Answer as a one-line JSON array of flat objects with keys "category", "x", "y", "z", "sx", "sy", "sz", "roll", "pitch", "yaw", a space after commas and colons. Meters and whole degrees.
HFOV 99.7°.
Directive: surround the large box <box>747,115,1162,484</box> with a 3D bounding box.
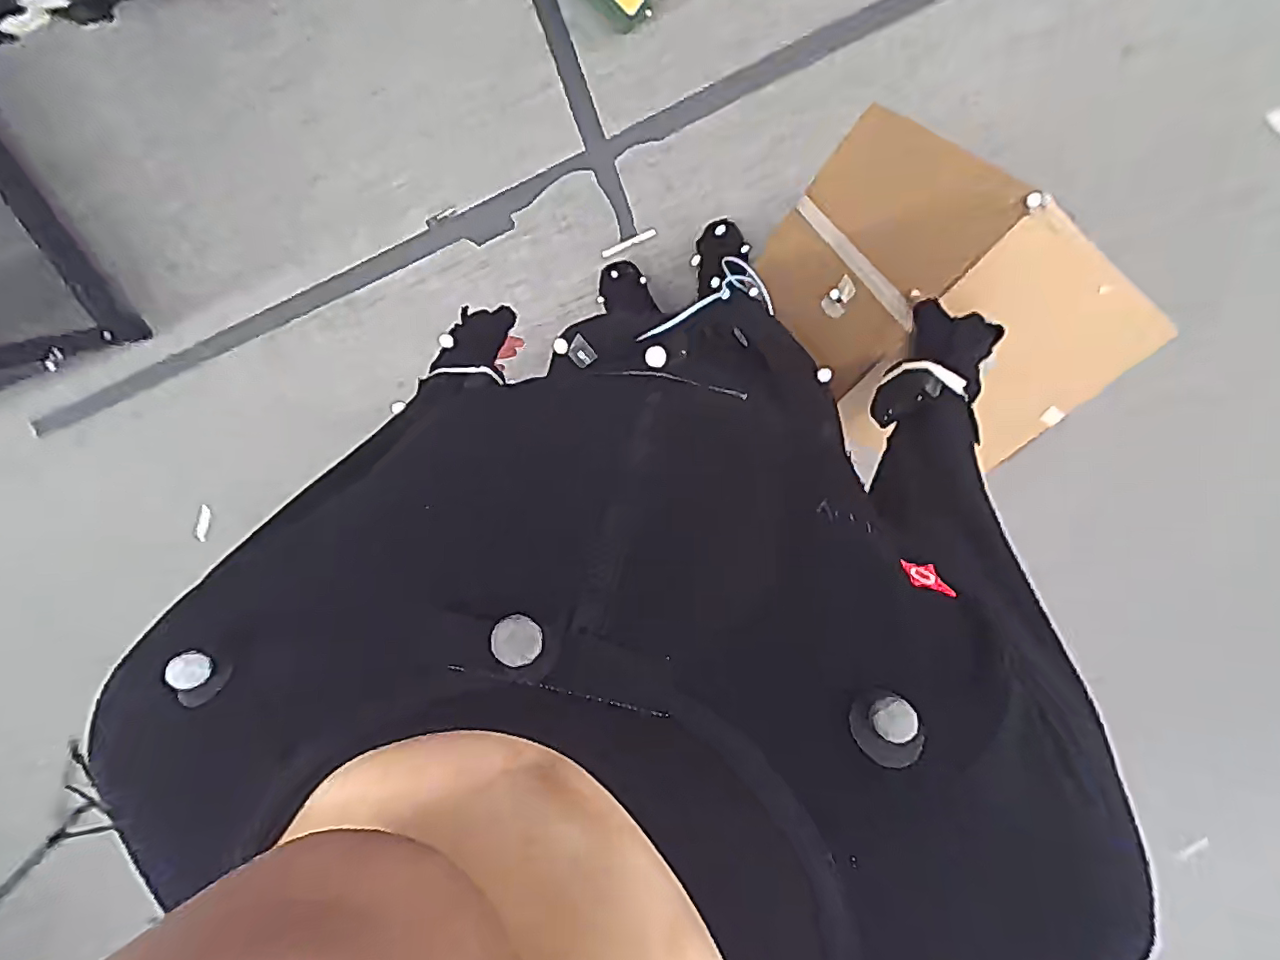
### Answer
[{"category": "large box", "x": 0.420, "y": -0.268, "z": 0.817, "sx": 0.320, "sy": 0.408, "sz": 0.320, "roll": 18, "pitch": 130, "yaw": -25}]
